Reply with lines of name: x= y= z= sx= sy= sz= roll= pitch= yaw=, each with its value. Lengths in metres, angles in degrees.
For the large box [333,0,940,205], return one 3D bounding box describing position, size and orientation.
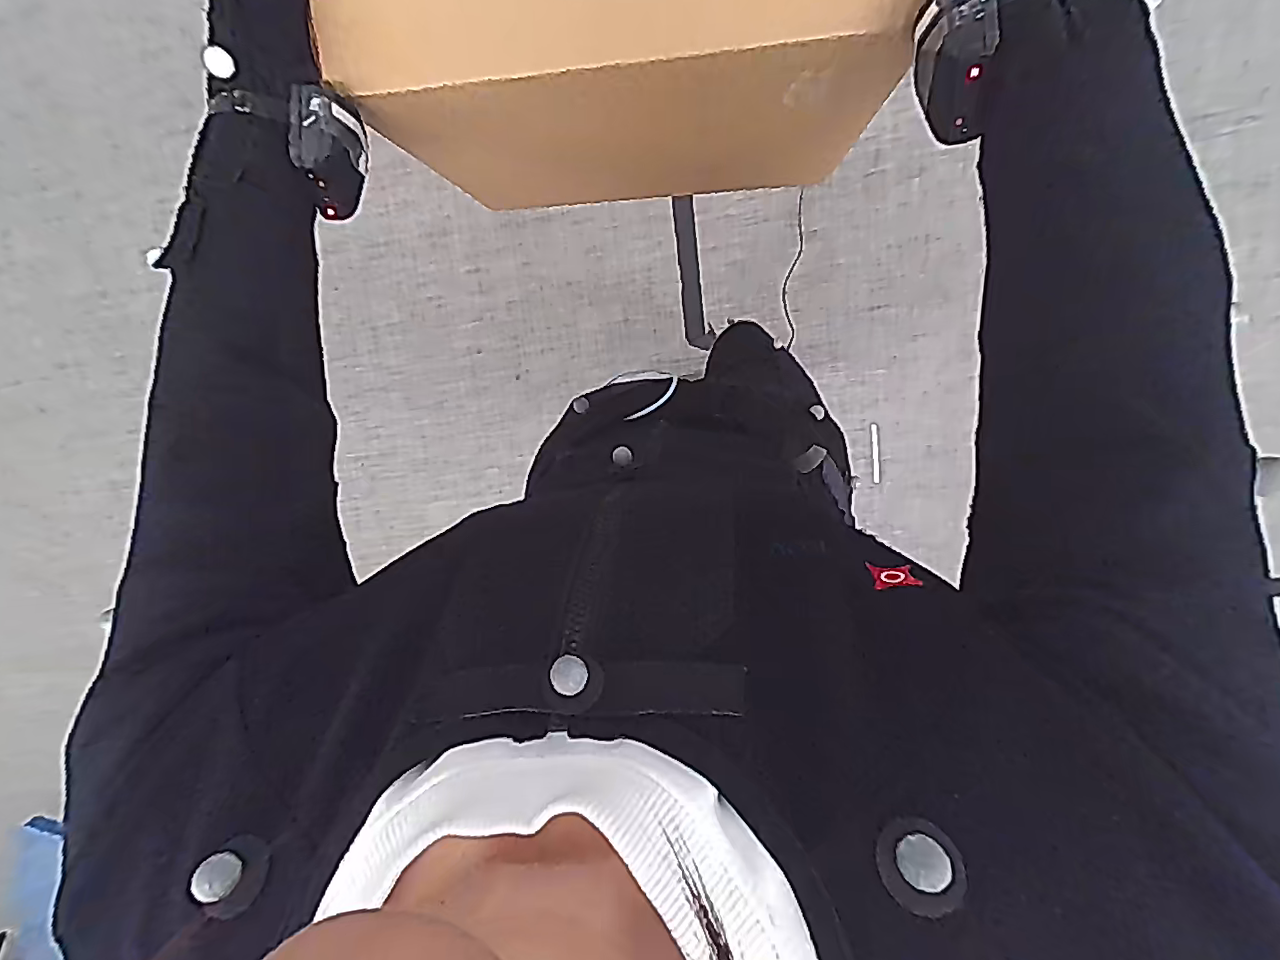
large box: x=-0.006 y=-0.462 z=0.469 sx=0.408 sy=0.320 sz=0.320 roll=-2 pitch=104 yaw=6
